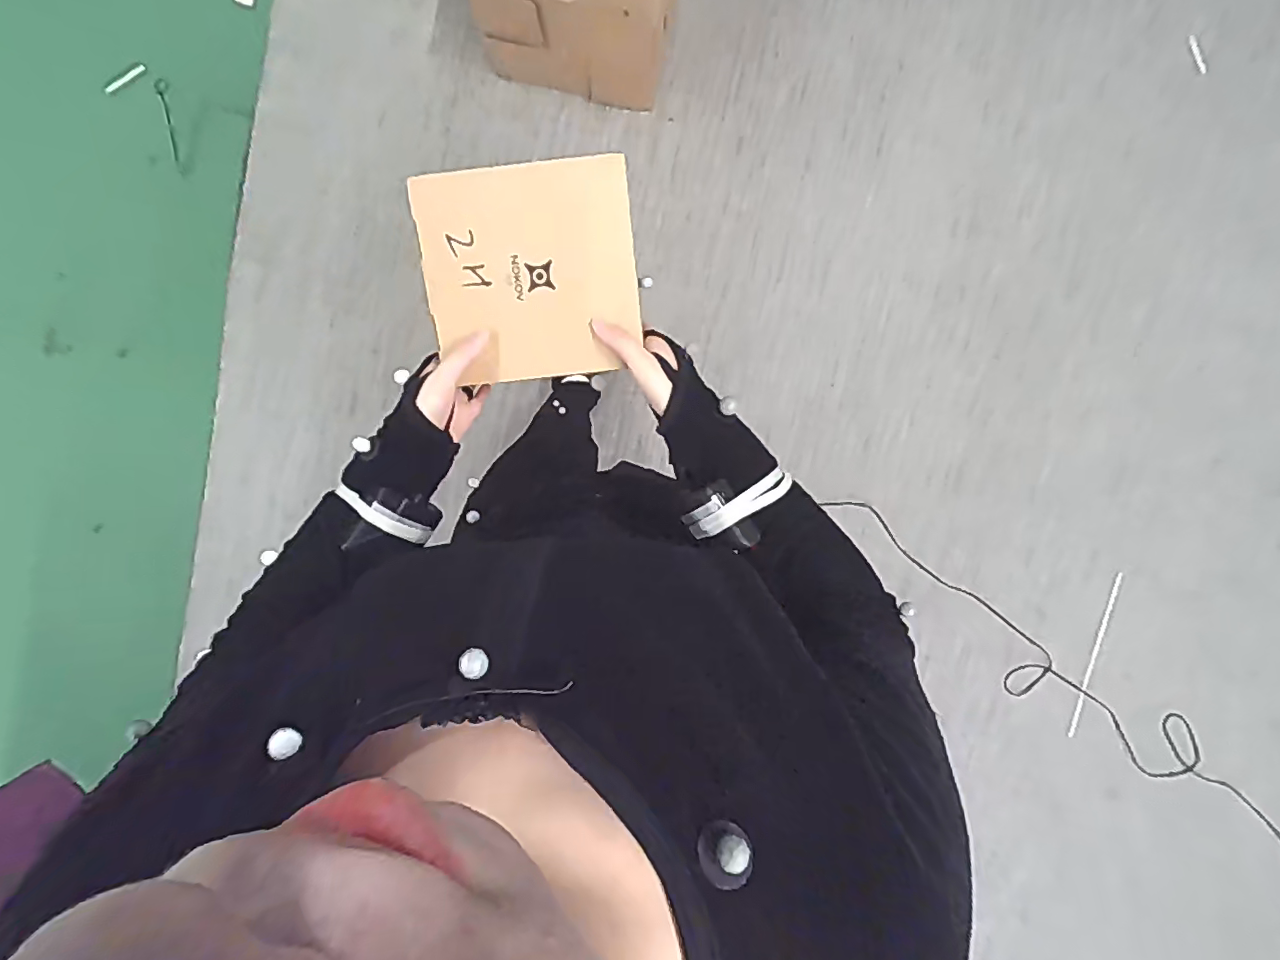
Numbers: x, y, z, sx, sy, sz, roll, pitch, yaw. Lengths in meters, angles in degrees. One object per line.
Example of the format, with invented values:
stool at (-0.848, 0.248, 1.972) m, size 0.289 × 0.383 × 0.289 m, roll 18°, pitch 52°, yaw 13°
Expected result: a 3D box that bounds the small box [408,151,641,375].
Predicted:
small box at (-0.092, -0.194, 0.521) m, size 0.179 × 0.176 × 0.168 m, roll -4°, pitch 104°, yaw 1°
